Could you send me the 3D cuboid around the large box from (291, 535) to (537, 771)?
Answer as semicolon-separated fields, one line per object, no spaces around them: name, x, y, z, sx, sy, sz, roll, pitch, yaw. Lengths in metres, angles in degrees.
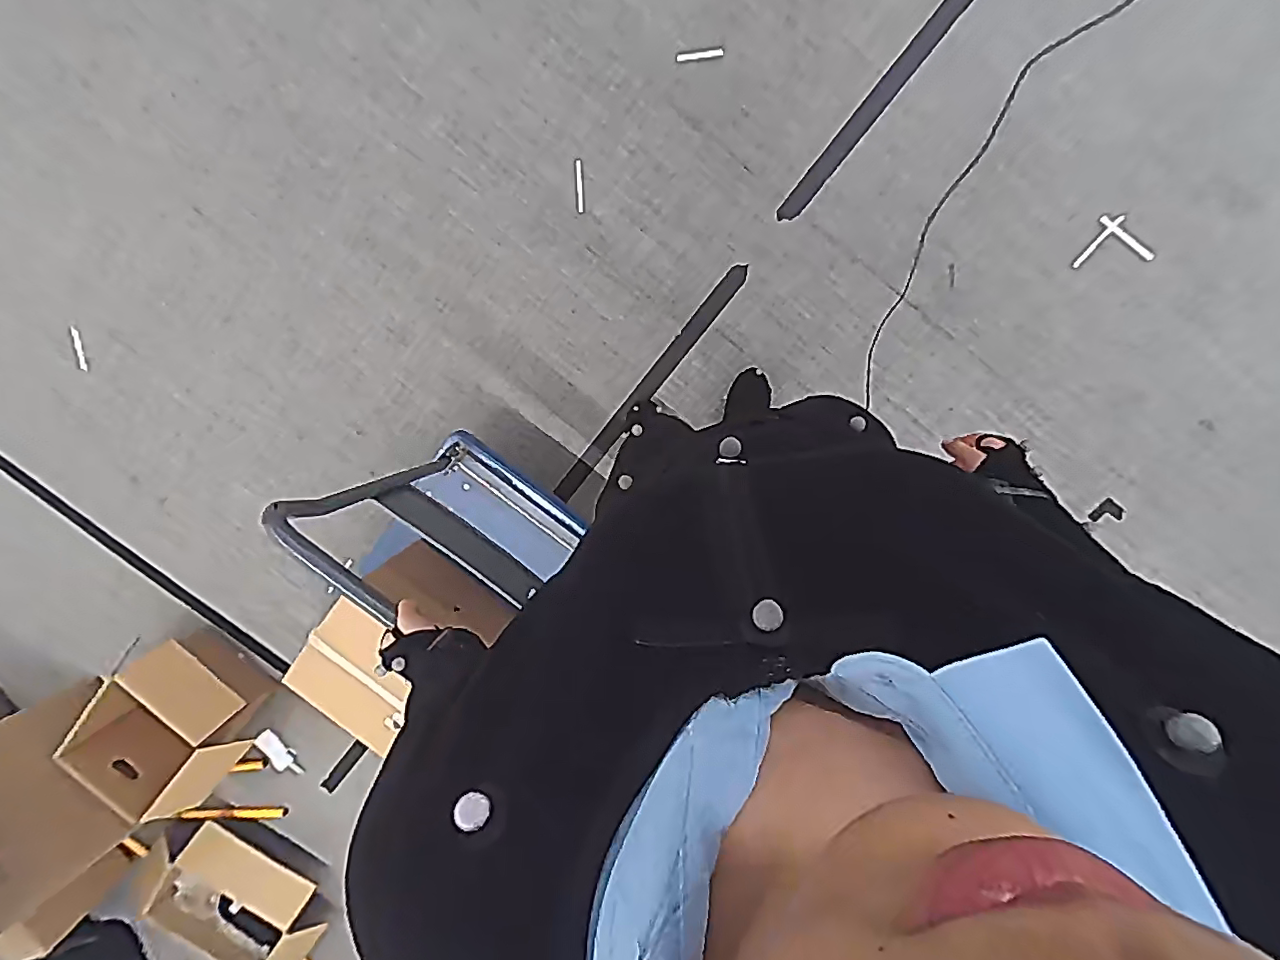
large box;-0.534;0.408;1.347;0.408;0.320;0.320;39;105;-5
